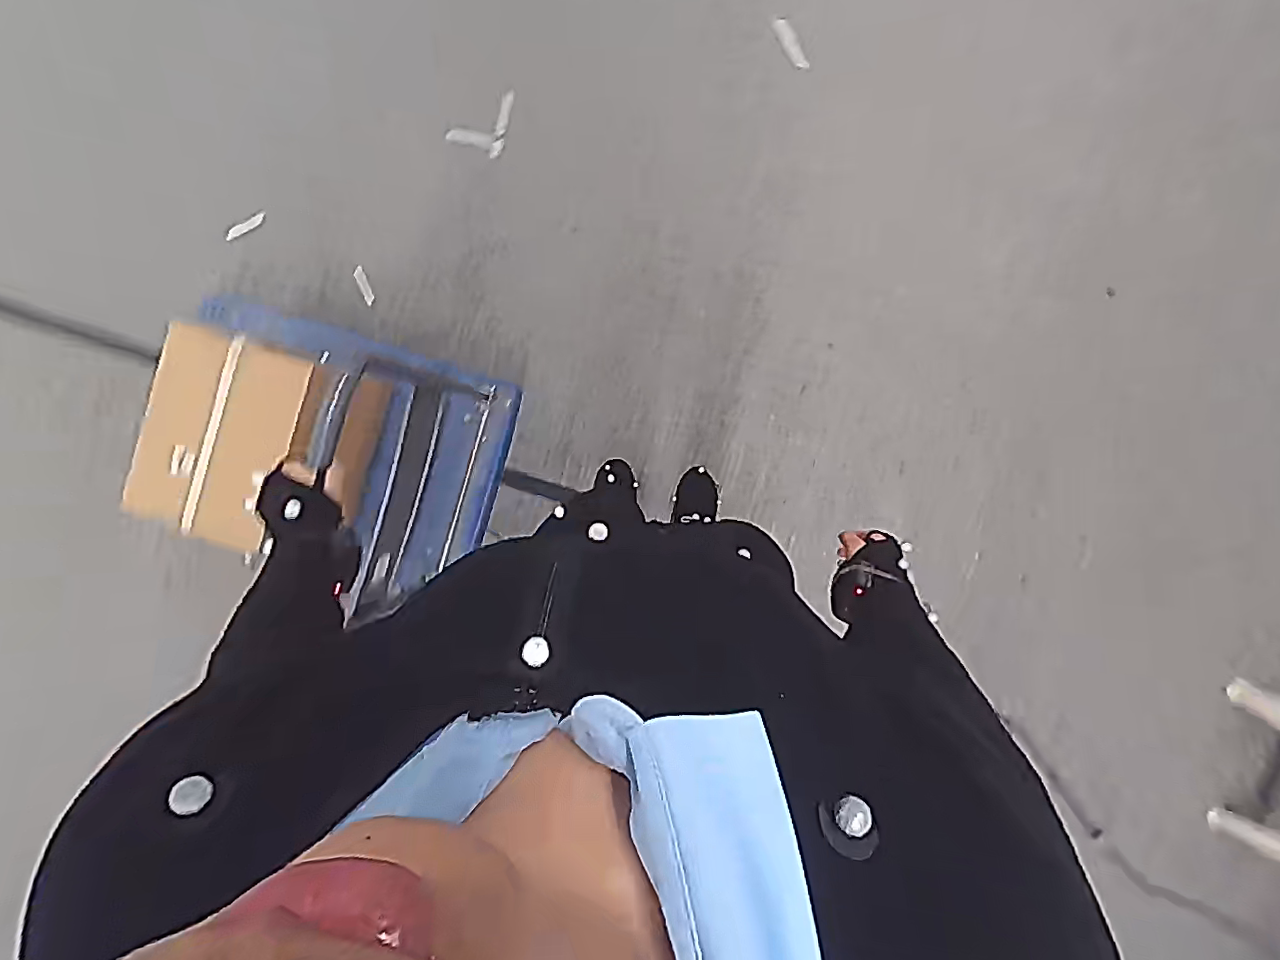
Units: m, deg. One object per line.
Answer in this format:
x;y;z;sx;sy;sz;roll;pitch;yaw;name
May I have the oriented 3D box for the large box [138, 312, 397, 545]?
-0.818;-0.114;1.235;0.320;0.320;0.408;20;95;4;large box
